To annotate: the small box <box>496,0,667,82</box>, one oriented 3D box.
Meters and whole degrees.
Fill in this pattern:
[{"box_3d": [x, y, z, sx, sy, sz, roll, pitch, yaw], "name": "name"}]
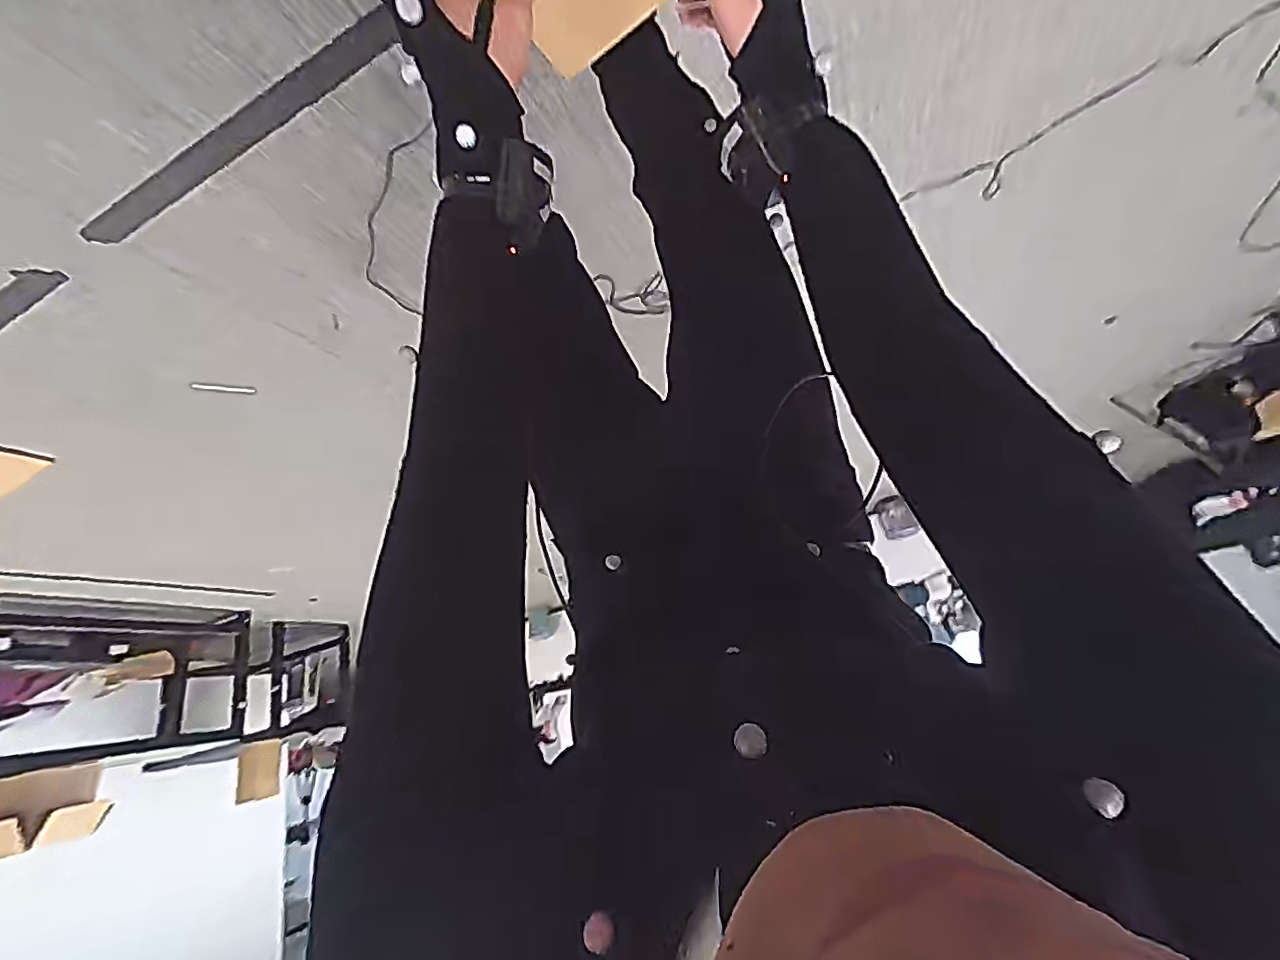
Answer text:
[{"box_3d": [-0.055, -0.473, 0.405, 0.179, 0.176, 0.168, -21, 163, 28], "name": "small box"}]
